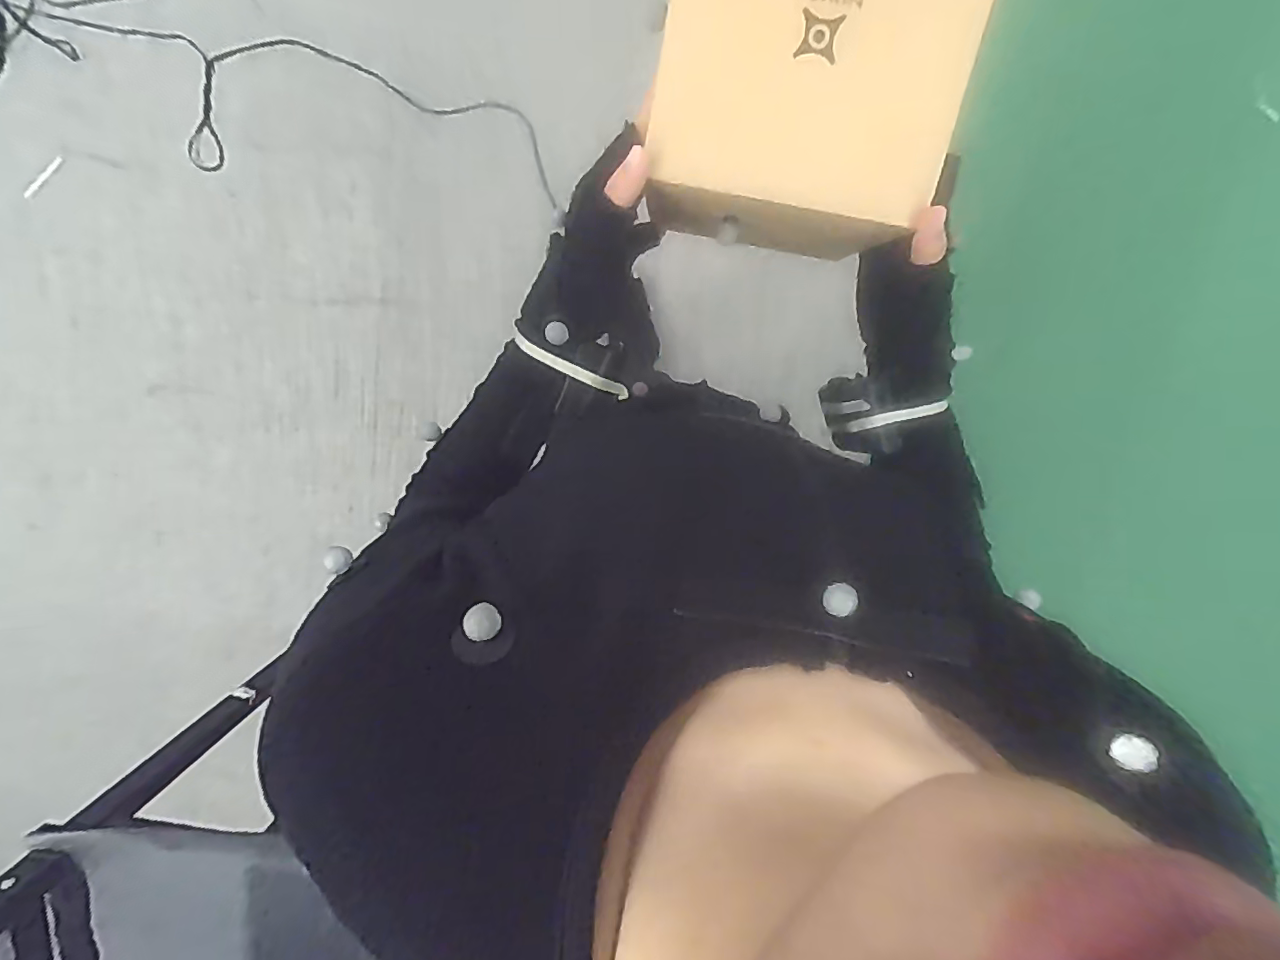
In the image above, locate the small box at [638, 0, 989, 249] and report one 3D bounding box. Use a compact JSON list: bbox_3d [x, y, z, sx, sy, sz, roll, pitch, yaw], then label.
[{"bbox_3d":[0.099,-0.264,0.355,0.168,0.176,0.179,11,105,1],"label":"small box"}]
